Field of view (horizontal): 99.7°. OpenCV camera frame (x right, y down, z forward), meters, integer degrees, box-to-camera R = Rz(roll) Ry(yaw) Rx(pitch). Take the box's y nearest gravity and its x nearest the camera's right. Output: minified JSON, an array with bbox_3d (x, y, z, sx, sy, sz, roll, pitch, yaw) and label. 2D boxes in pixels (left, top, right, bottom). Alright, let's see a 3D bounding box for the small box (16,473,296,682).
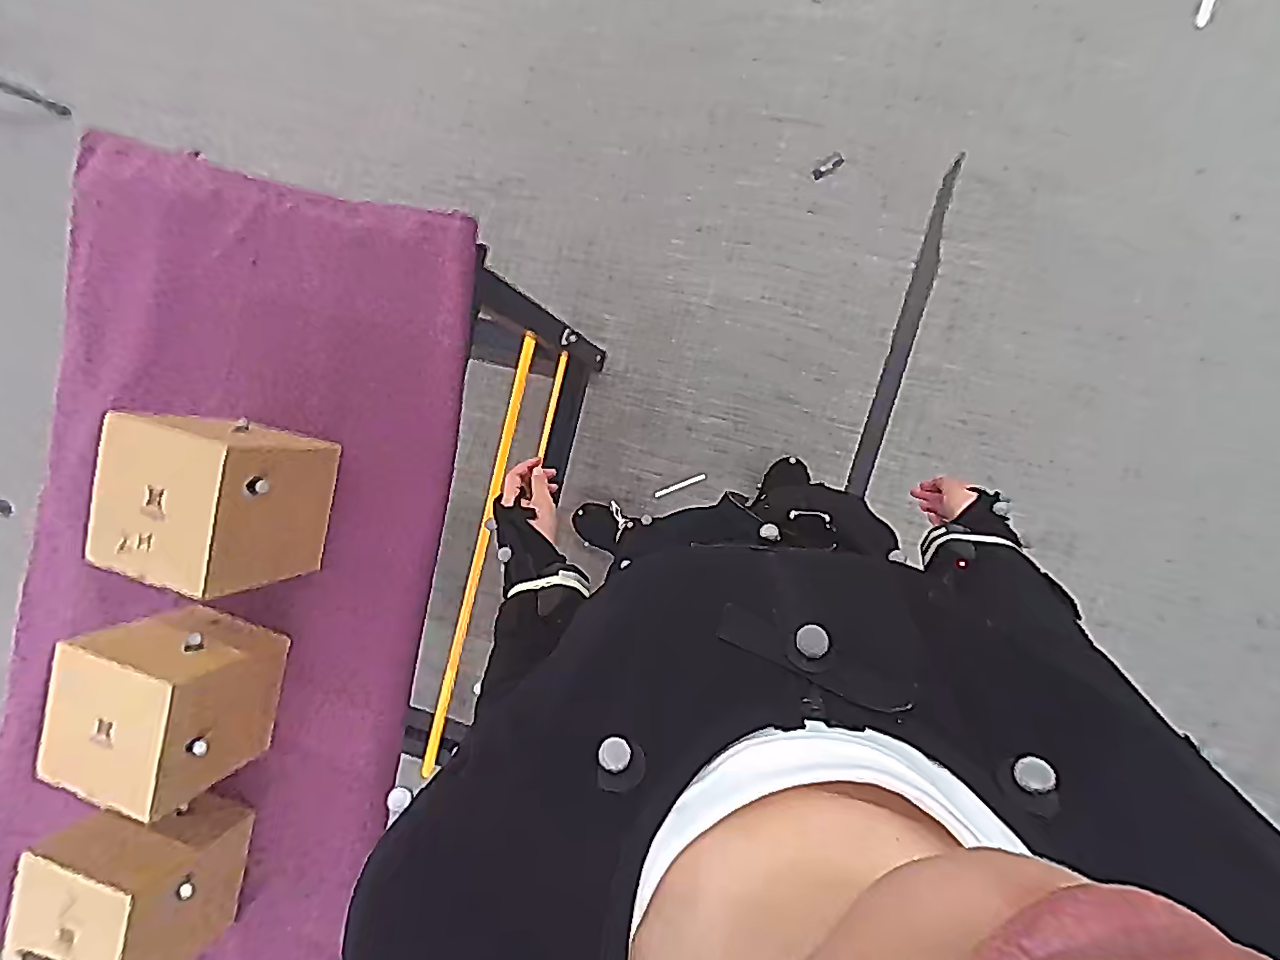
[{"bbox_3d":[-0.572,0.104,0.666,0.168,0.176,0.179,31,95,6],"label":"small box"}]
